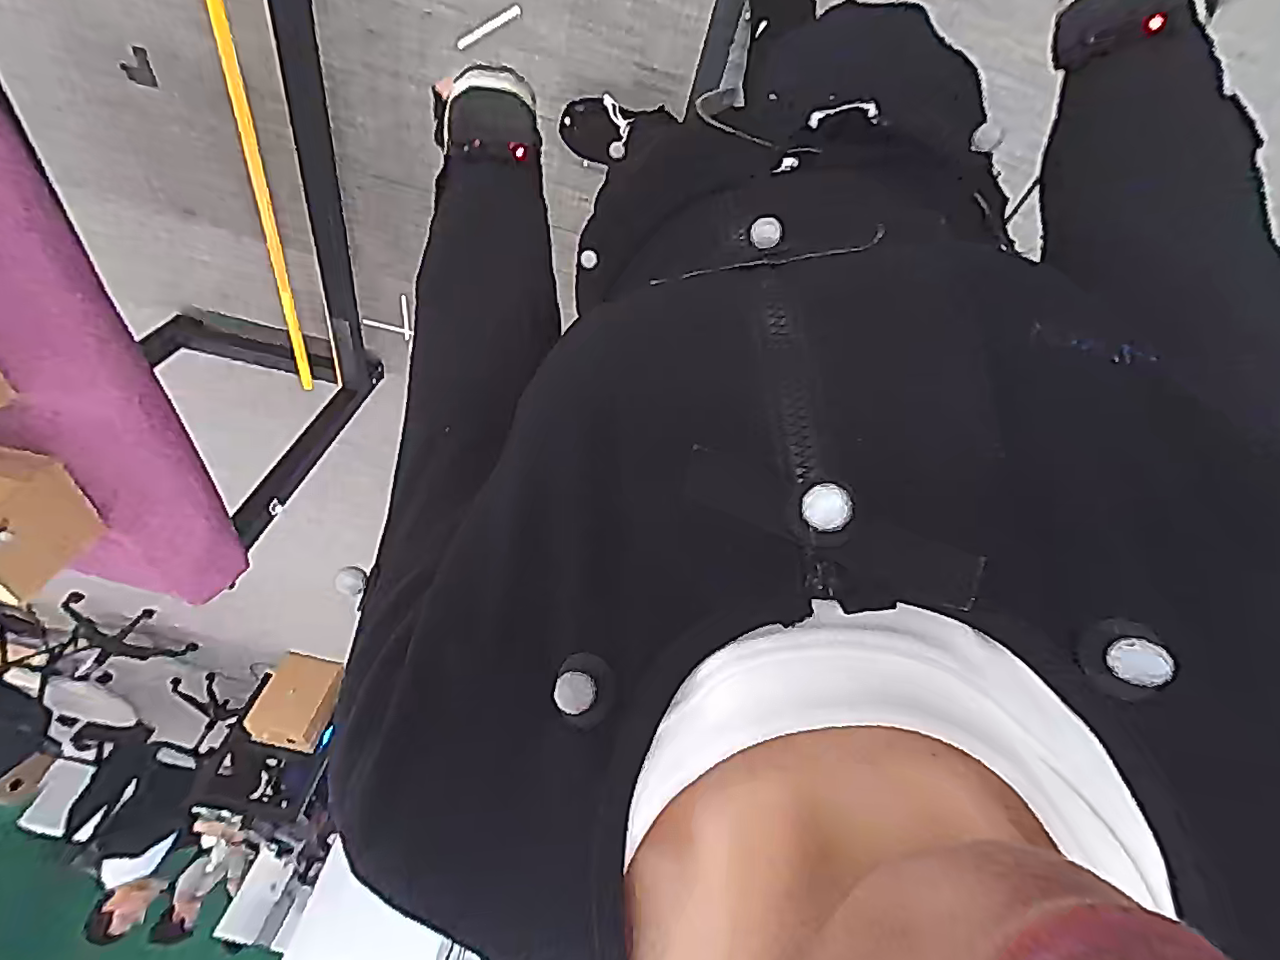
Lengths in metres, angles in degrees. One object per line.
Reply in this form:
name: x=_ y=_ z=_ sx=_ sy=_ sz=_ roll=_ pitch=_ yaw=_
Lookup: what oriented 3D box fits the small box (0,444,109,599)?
small box: x=-1.020 y=0.057 z=0.853 sx=0.168 sy=0.176 sz=0.179 roll=13 pitch=133 yaw=-3
